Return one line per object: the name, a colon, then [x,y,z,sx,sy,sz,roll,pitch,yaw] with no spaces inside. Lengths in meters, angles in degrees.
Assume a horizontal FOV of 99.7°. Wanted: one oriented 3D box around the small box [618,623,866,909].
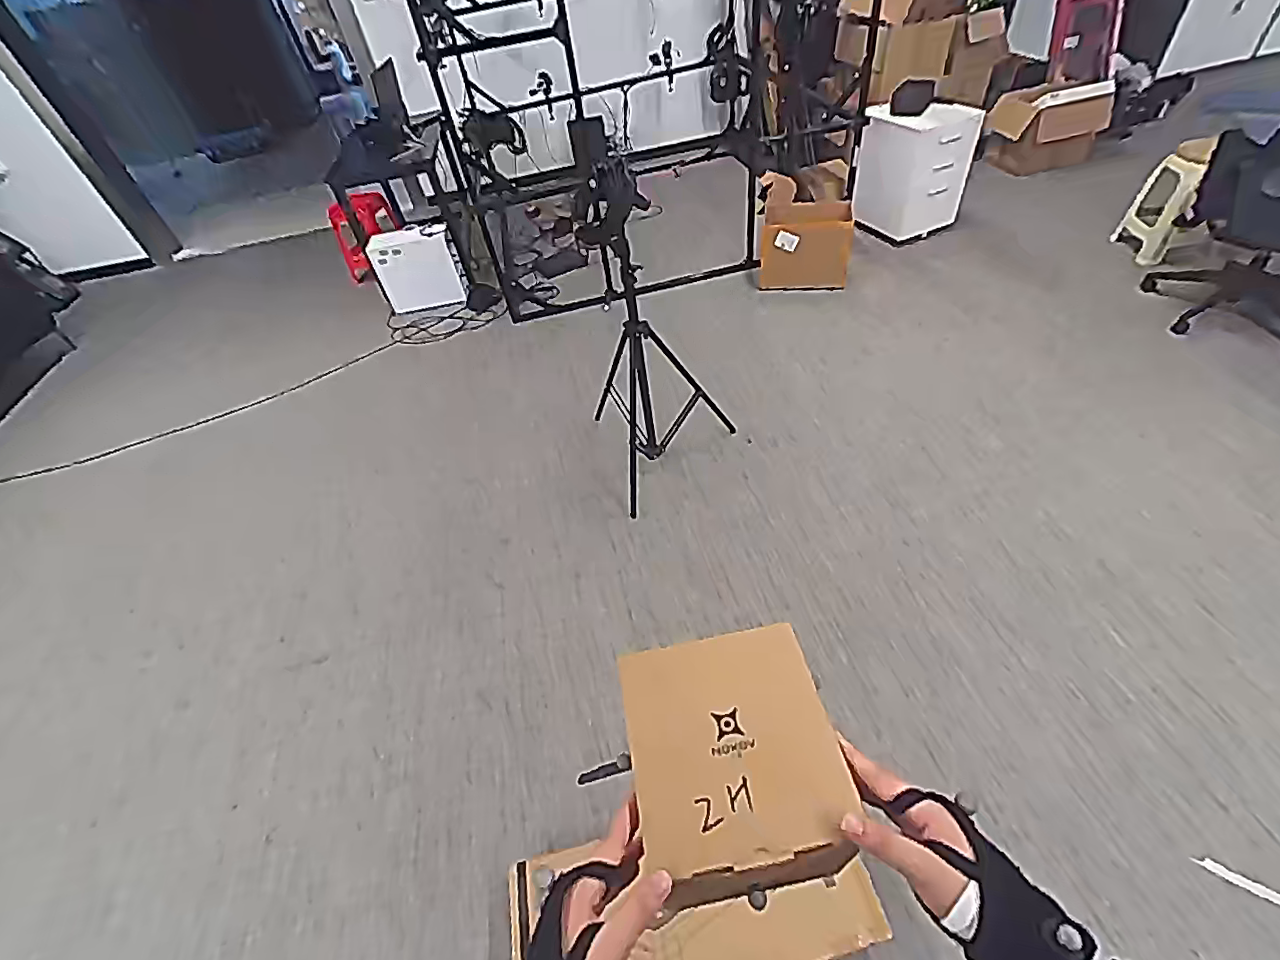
small box: [0.078,0.263,0.499,0.168,0.176,0.179,-11,46,-2]
